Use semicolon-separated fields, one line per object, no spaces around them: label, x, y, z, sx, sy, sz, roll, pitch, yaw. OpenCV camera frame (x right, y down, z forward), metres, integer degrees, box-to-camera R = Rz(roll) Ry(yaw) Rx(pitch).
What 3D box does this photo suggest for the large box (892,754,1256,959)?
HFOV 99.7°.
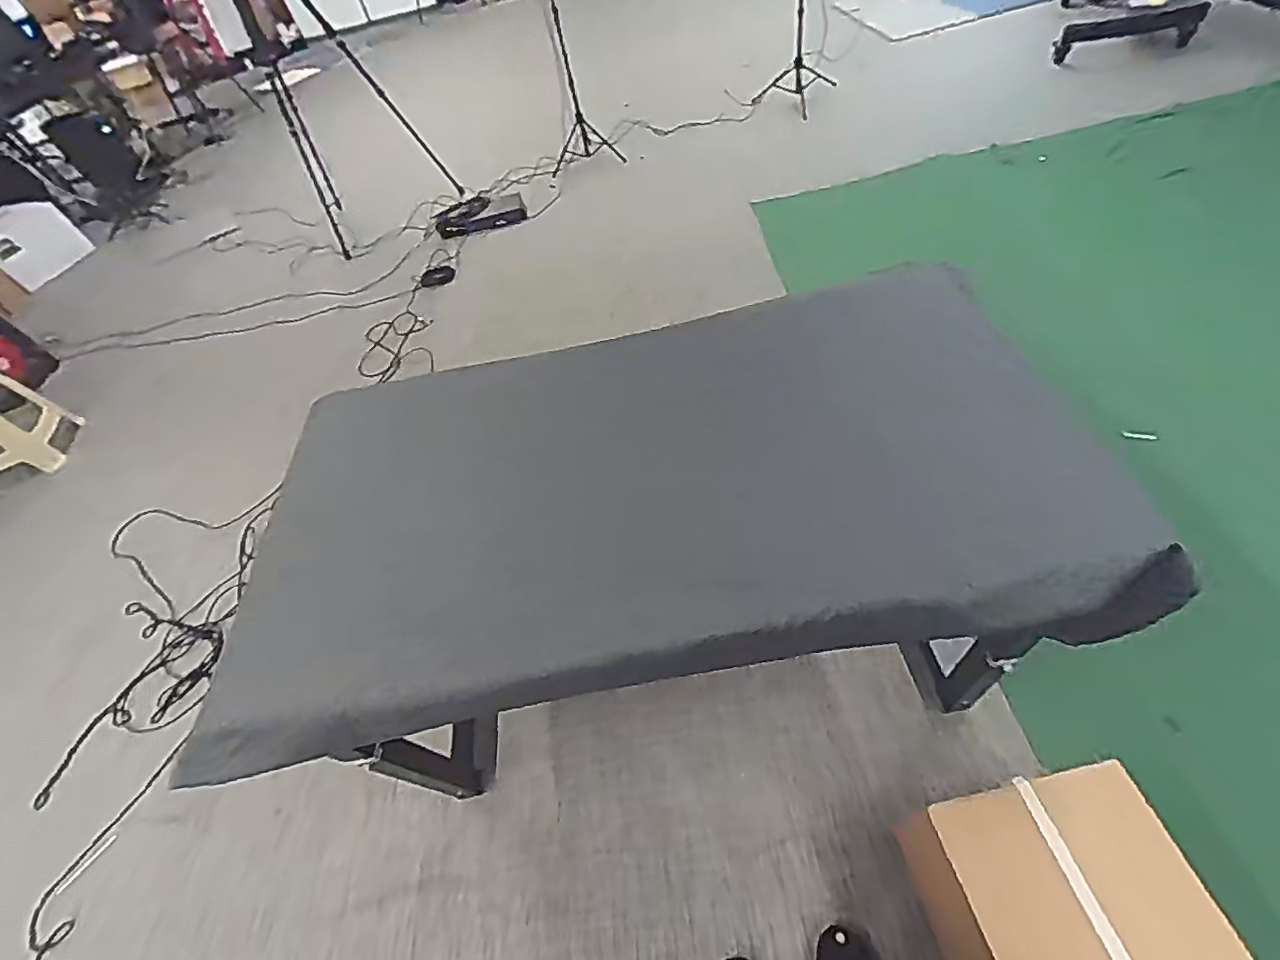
large box;0.664;0.708;0.852;0.320;0.320;0.408;-15;52;2
